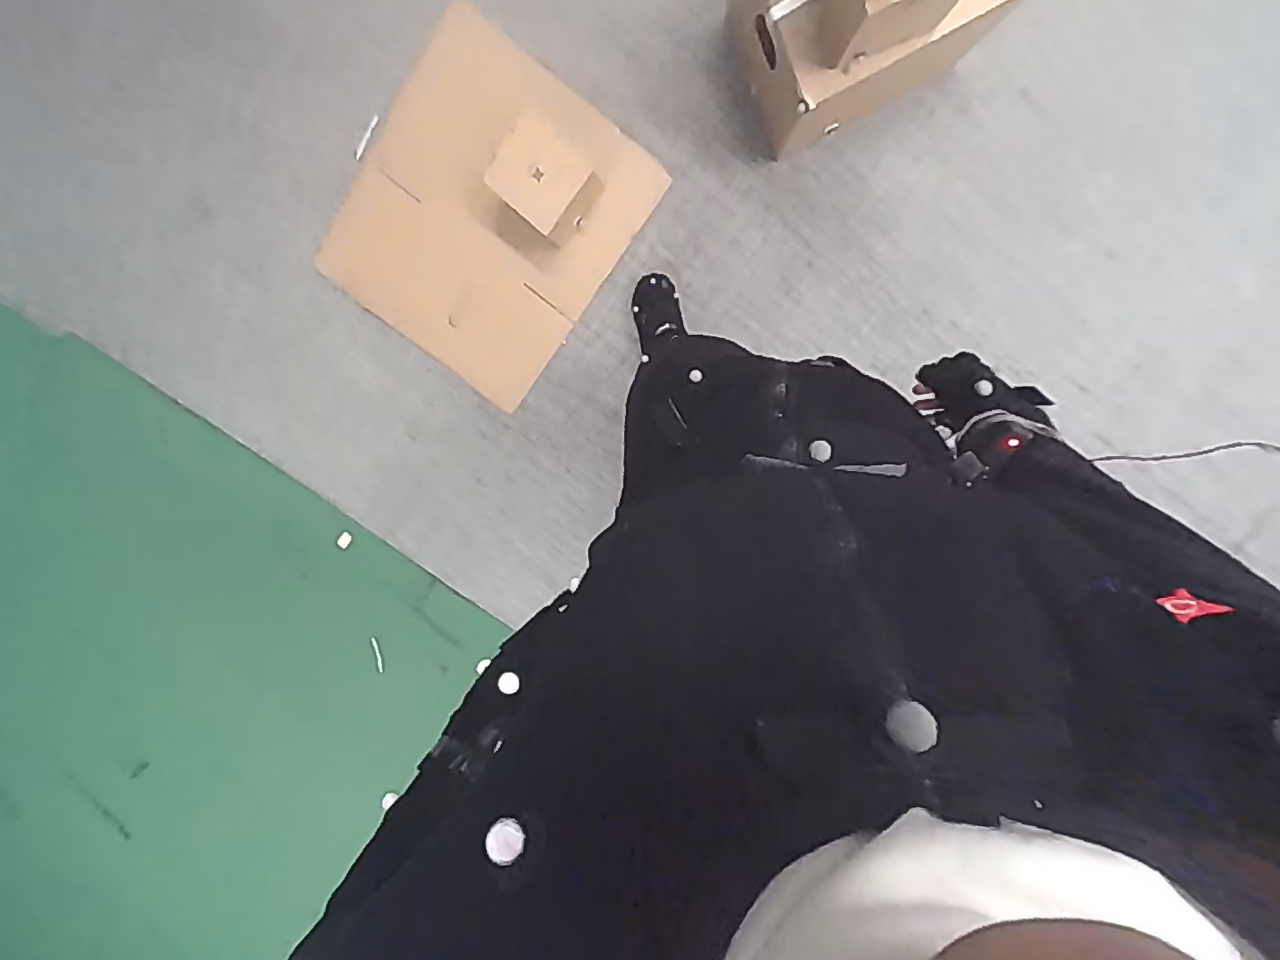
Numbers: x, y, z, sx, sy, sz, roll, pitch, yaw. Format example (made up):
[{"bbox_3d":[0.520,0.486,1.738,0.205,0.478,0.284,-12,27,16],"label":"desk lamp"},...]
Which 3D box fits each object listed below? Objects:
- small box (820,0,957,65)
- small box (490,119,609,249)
[{"bbox_3d":[0.371,-0.760,0.798,0.168,0.176,0.179,-17,102,9],"label":"small box"},{"bbox_3d":[-0.191,-0.637,1.192,0.179,0.176,0.168,39,106,-6],"label":"small box"}]
